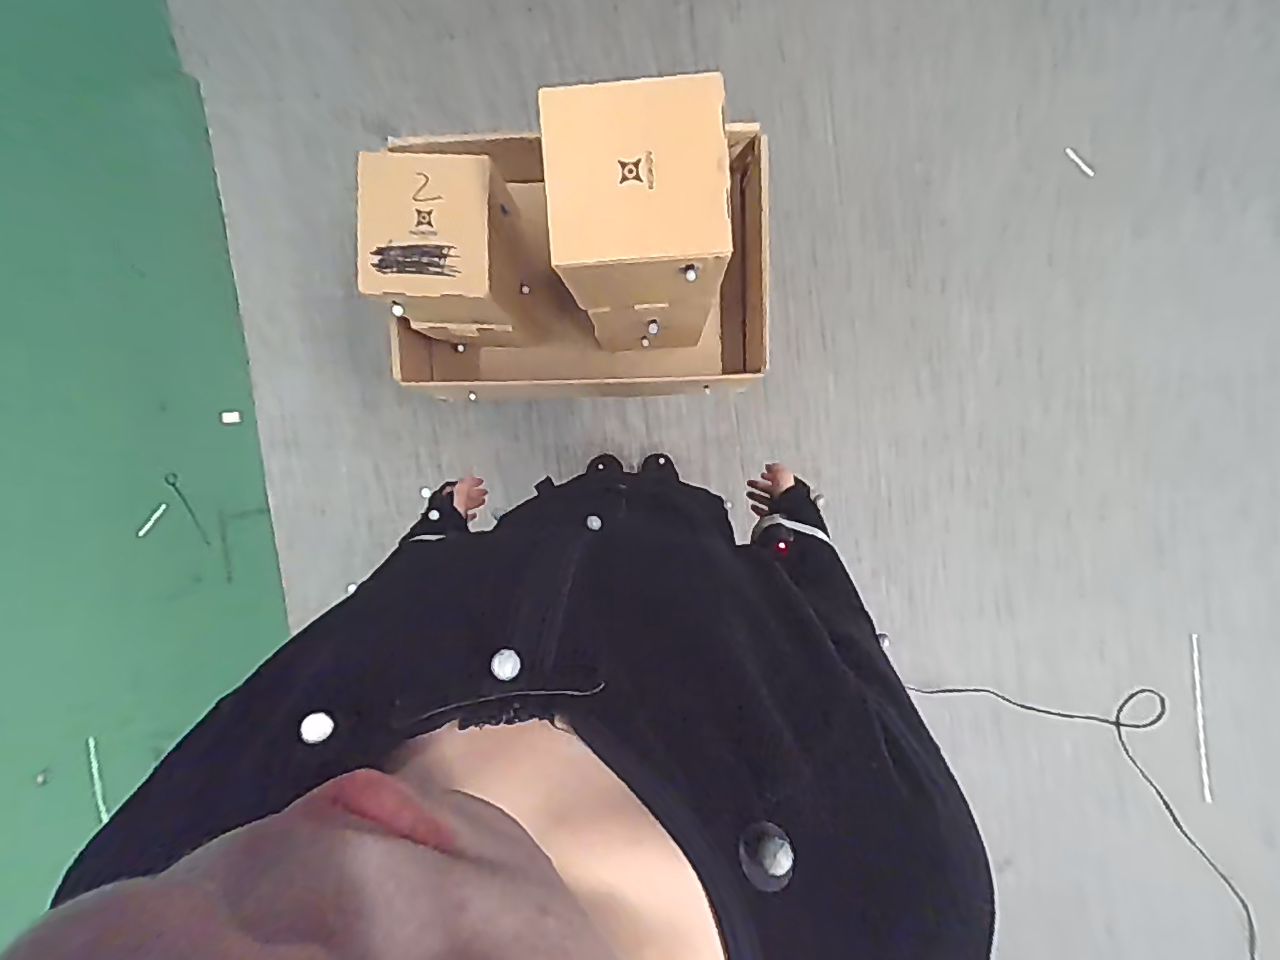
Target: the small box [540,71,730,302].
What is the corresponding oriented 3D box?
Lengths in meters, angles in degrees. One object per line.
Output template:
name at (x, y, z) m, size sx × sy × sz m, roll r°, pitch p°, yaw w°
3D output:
small box at (-0.002, -0.301, 0.591) m, size 0.179 × 0.176 × 0.168 m, roll -3°, pitch 94°, yaw 1°
